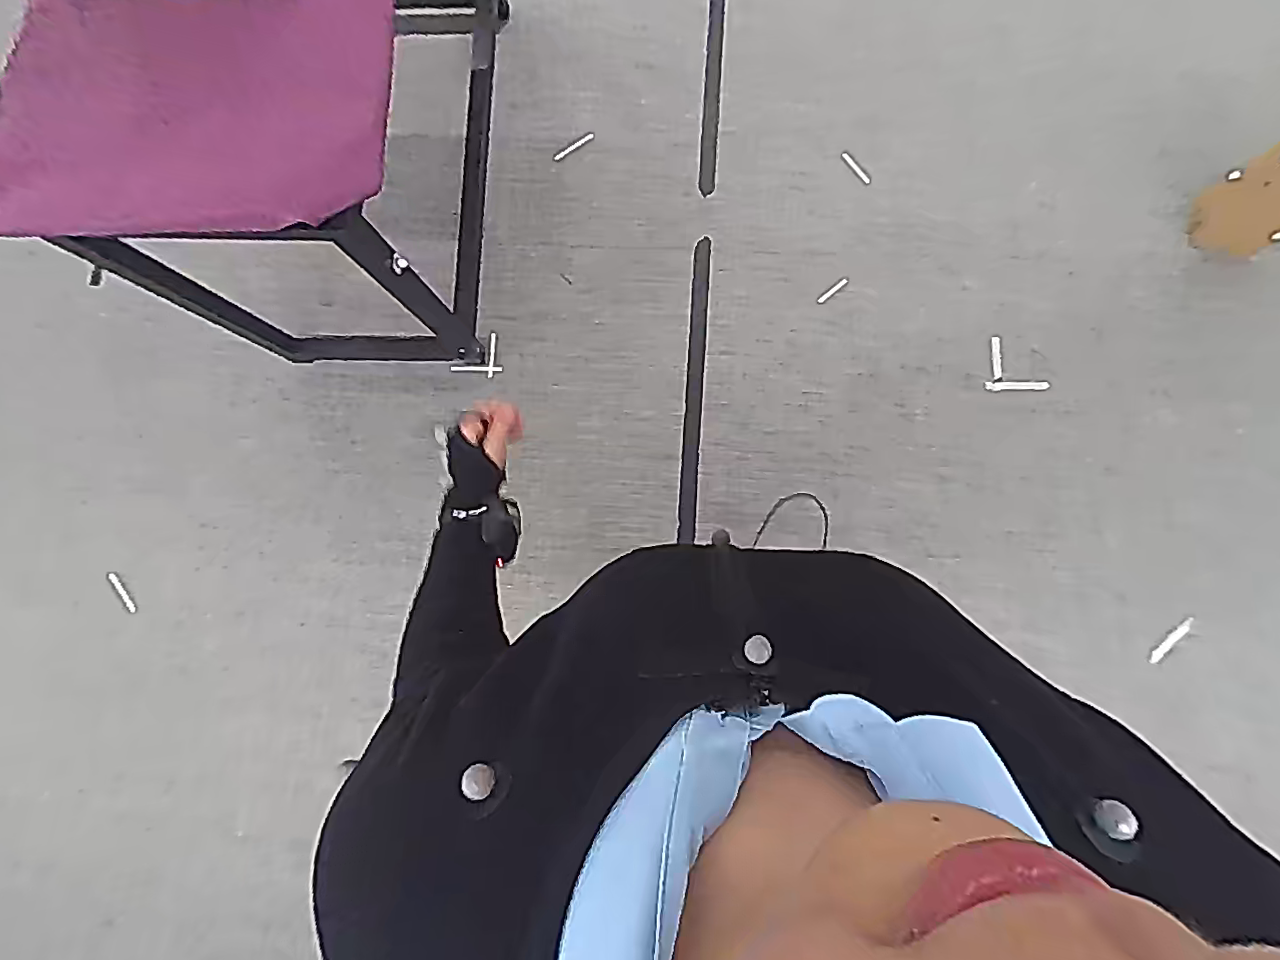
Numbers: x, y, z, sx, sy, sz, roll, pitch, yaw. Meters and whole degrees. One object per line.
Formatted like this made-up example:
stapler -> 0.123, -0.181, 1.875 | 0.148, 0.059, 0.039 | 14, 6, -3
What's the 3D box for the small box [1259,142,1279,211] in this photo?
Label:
small box -> 1.695, -0.778, 1.326 | 0.179, 0.176, 0.168 | 10, 84, 2
